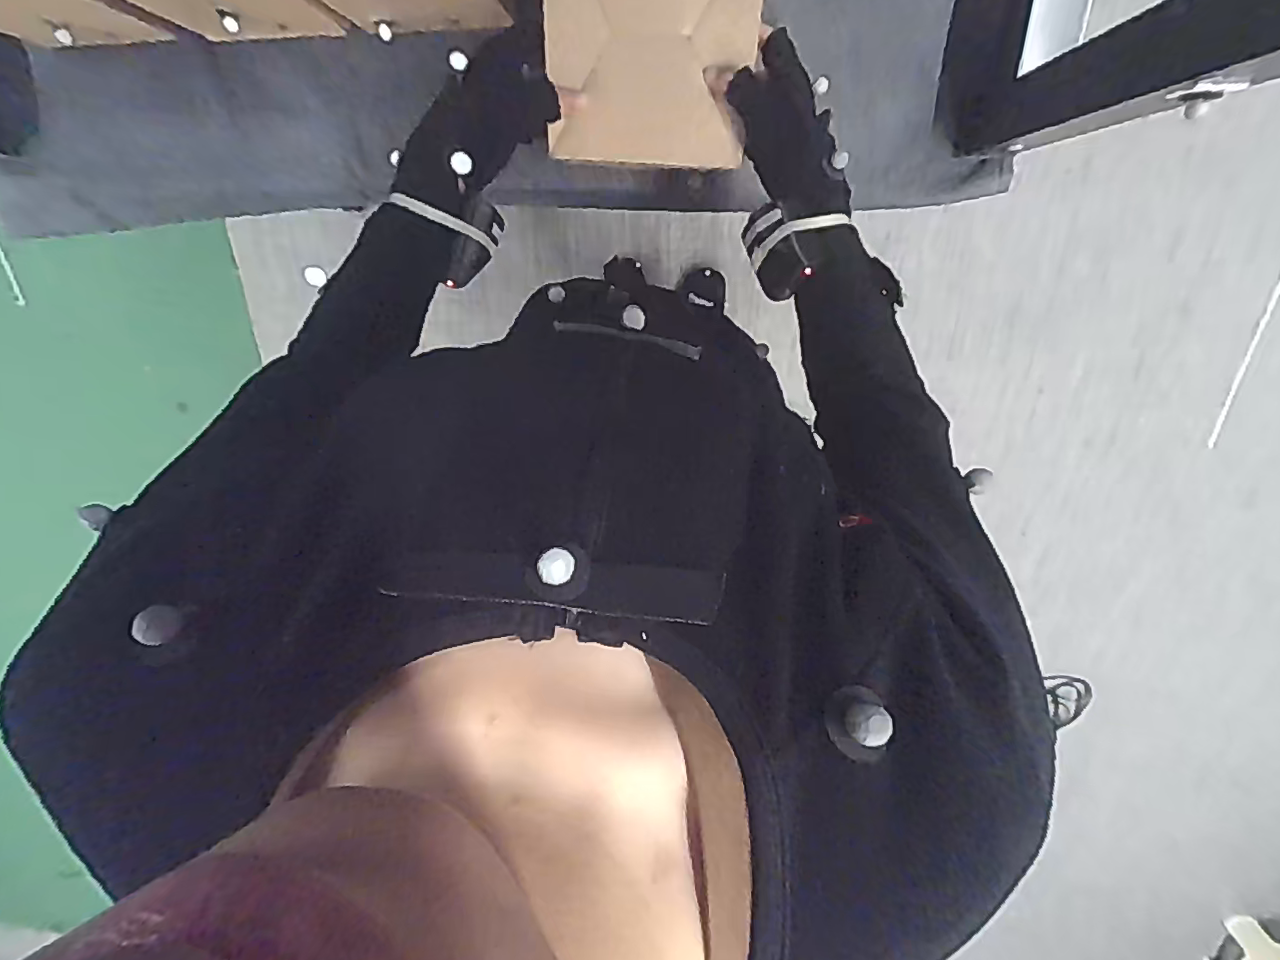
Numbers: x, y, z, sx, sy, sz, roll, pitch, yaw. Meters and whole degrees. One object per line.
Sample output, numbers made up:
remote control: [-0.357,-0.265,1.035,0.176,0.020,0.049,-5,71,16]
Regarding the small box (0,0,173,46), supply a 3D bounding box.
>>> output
small box: [-0.590,-0.532,0.488,0.168,0.176,0.179,1,113,5]
